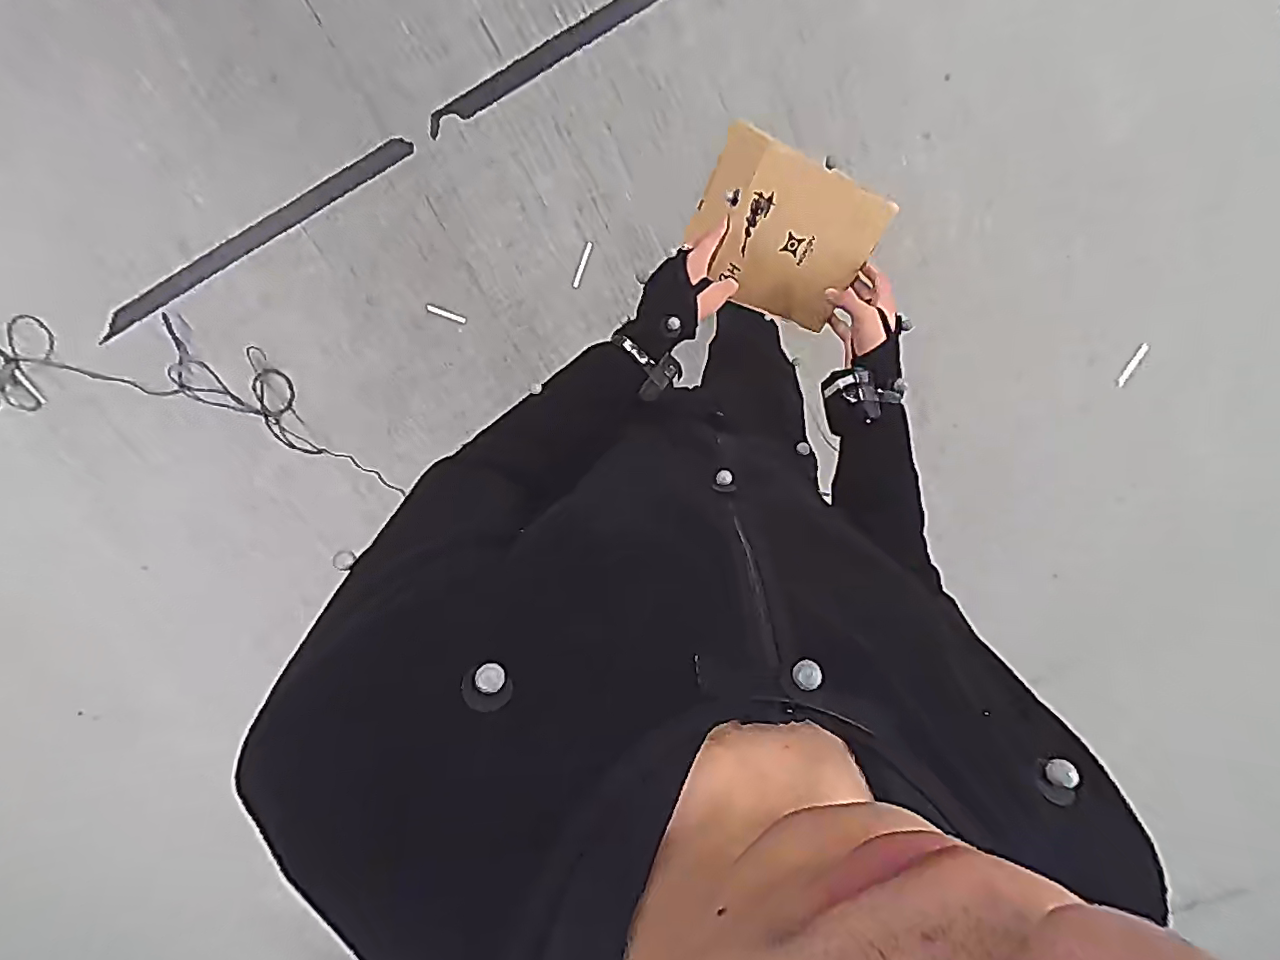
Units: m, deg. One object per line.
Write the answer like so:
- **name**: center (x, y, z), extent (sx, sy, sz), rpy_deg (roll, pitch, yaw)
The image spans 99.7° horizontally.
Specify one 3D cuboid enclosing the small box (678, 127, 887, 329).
- **small box**: center (0.168, -0.326, 0.698), extent (0.179, 0.176, 0.168), rpy_deg (13, 127, -19)
